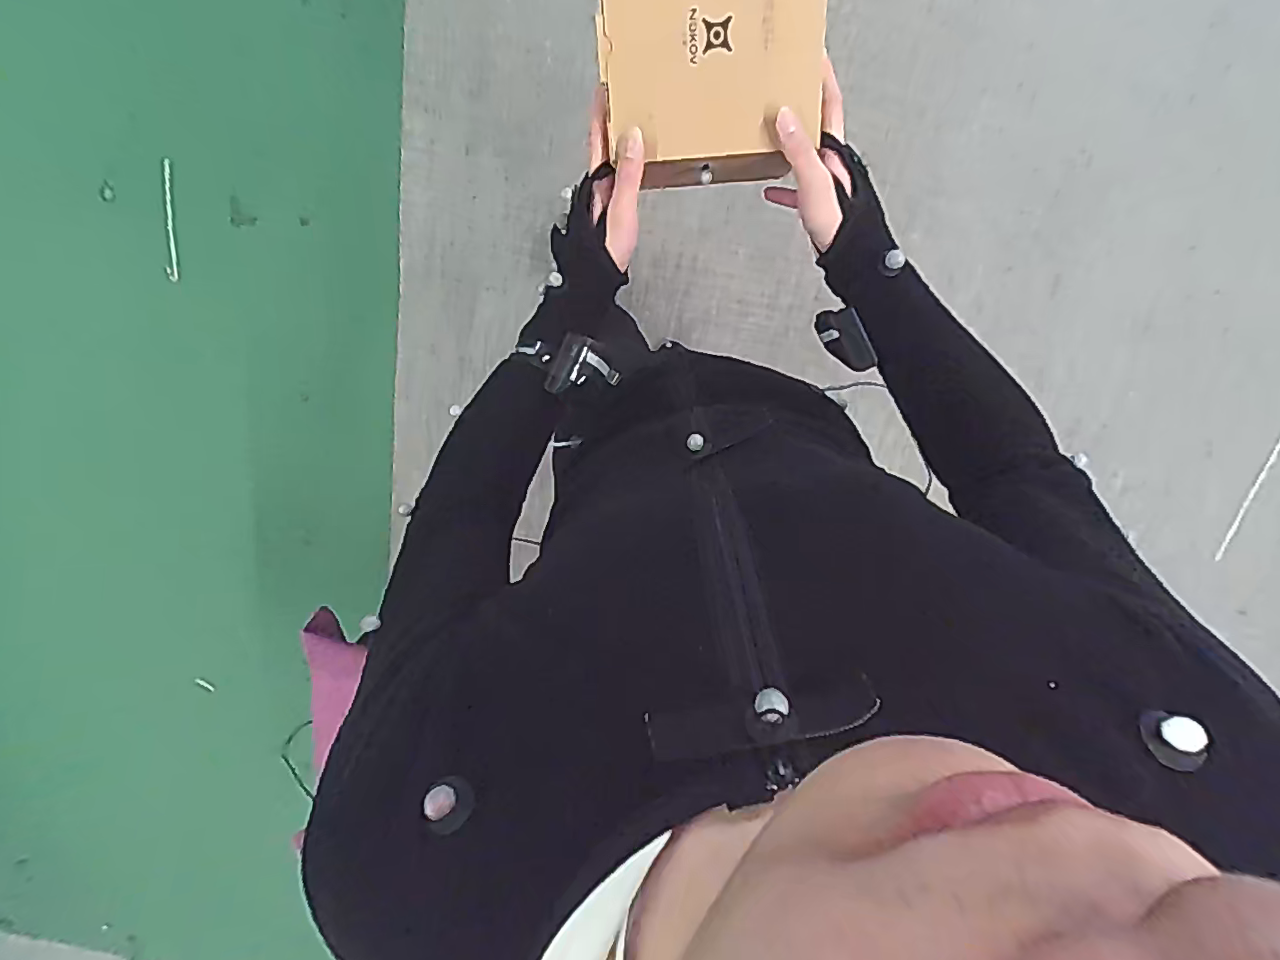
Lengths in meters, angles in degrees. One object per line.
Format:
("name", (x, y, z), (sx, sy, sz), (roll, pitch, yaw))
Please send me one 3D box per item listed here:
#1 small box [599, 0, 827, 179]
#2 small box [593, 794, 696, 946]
("small box", (0.062, -0.381, 0.492), (0.179, 0.176, 0.168), (-1, 111, 5))
("small box", (0.011, 0.751, 1.056), (0.179, 0.176, 0.168), (6, 109, 2))
